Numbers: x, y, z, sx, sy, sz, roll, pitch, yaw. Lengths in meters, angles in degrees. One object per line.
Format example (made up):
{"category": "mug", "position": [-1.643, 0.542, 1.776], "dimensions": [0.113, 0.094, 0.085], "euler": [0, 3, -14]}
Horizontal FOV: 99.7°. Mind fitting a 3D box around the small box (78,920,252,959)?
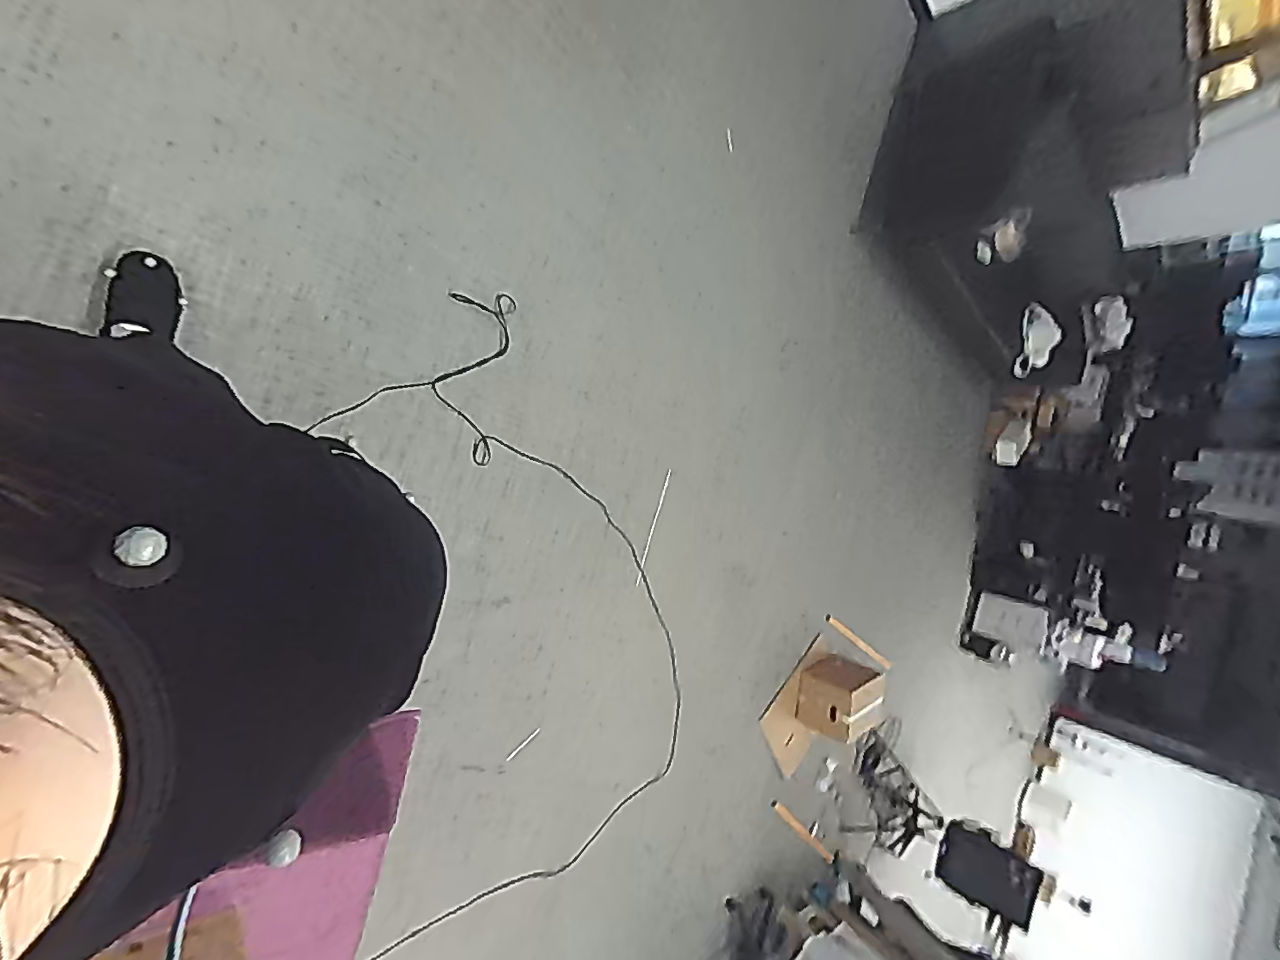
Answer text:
{"category": "small box", "position": [-0.550, 0.643, 0.600], "dimensions": [0.168, 0.176, 0.179], "euler": [16, 88, -42]}
